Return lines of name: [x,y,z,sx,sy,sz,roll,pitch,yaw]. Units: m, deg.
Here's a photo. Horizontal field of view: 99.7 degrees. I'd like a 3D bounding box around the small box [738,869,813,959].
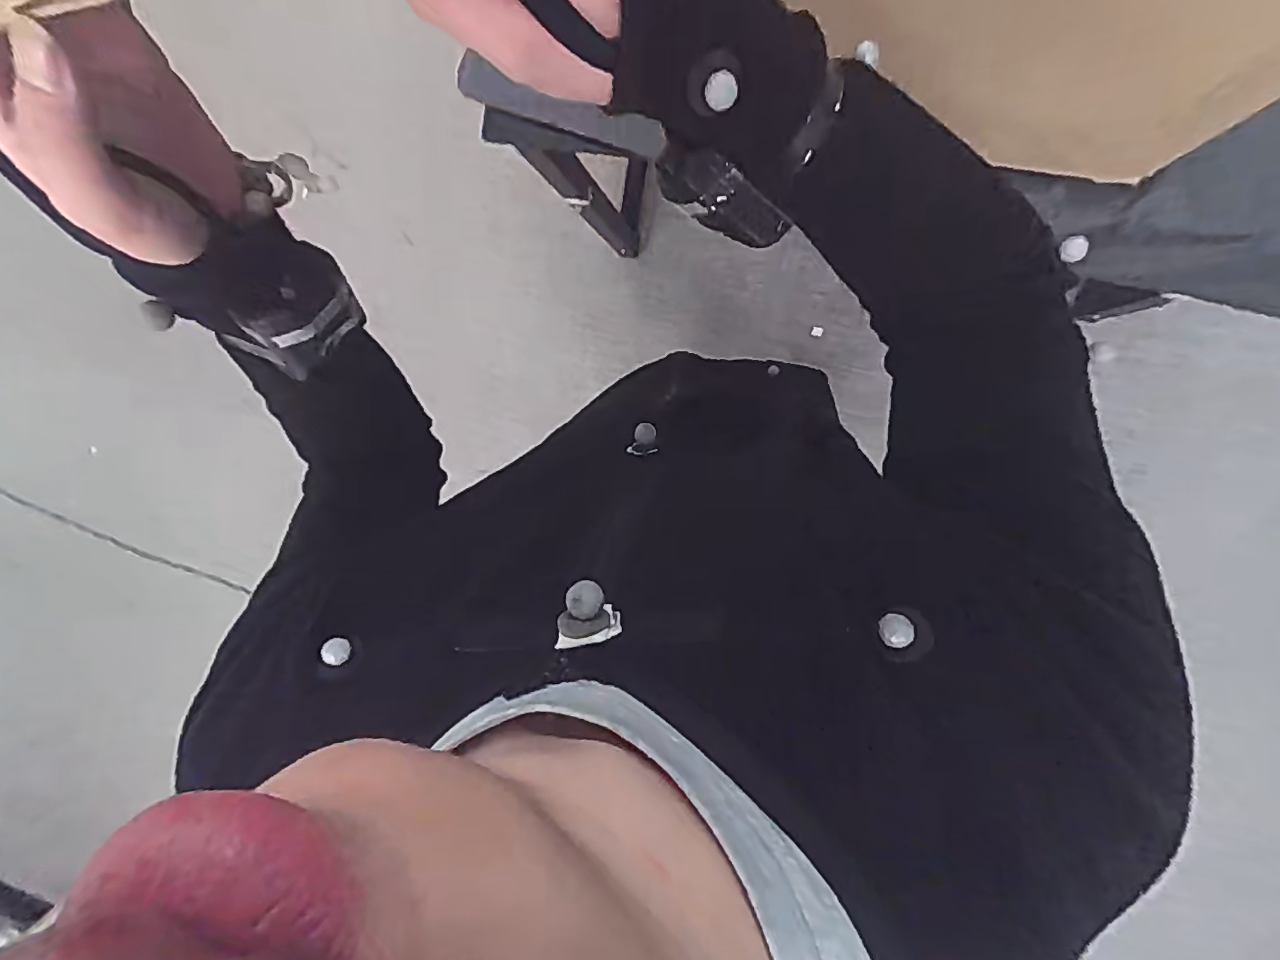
small box: [0.392,1.303,1.581,0.168,0.176,0.179,17,100,8]
